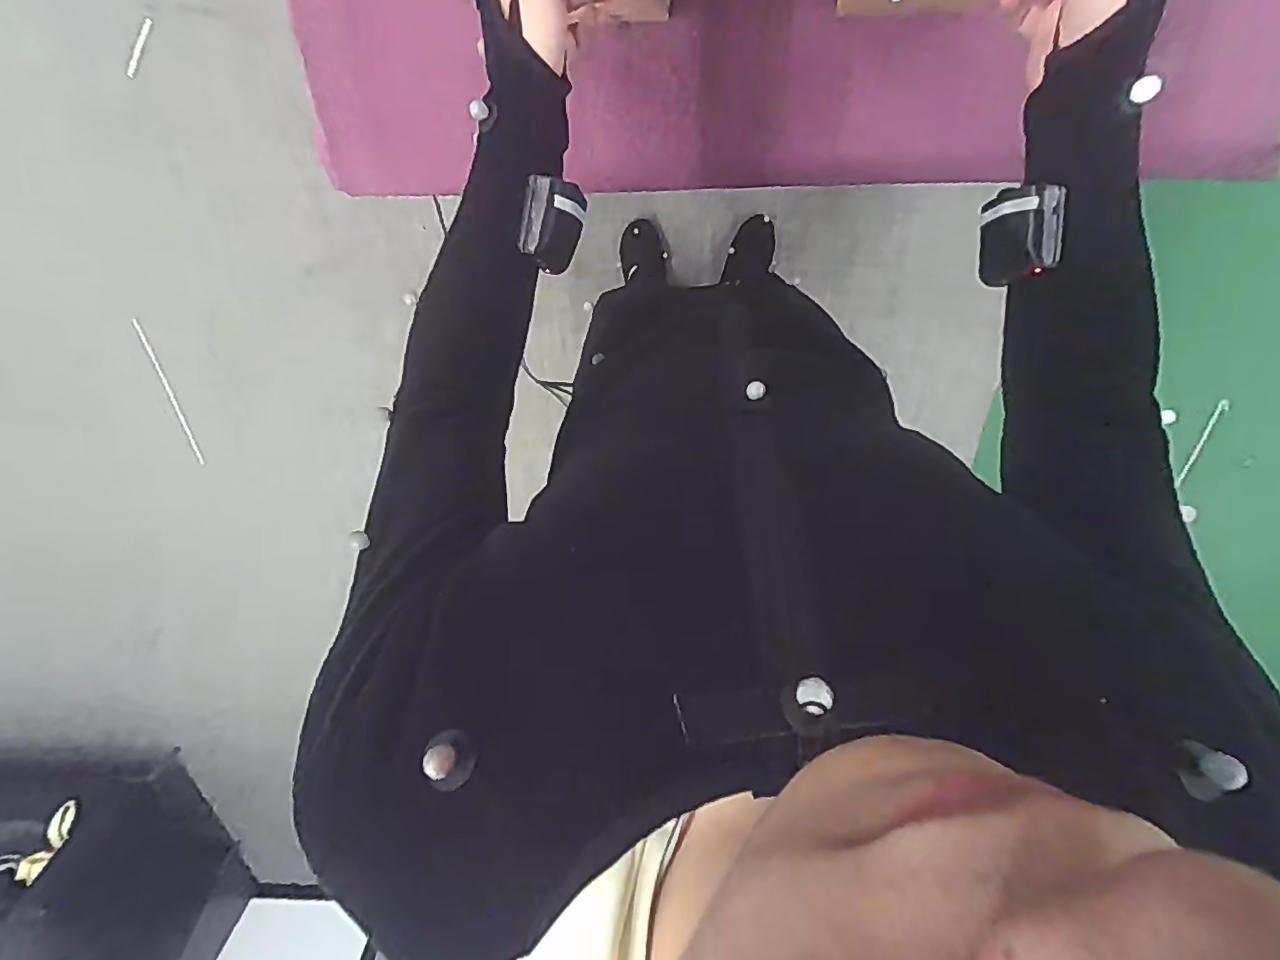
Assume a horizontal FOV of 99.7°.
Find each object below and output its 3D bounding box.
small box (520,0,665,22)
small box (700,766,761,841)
[{"bbox_3d":[-0.056,-0.575,0.519,0.168,0.176,0.179,1,119,2],"label":"small box"},{"bbox_3d":[0.311,1.128,1.892,0.179,0.176,0.168,4,119,-1],"label":"small box"}]
